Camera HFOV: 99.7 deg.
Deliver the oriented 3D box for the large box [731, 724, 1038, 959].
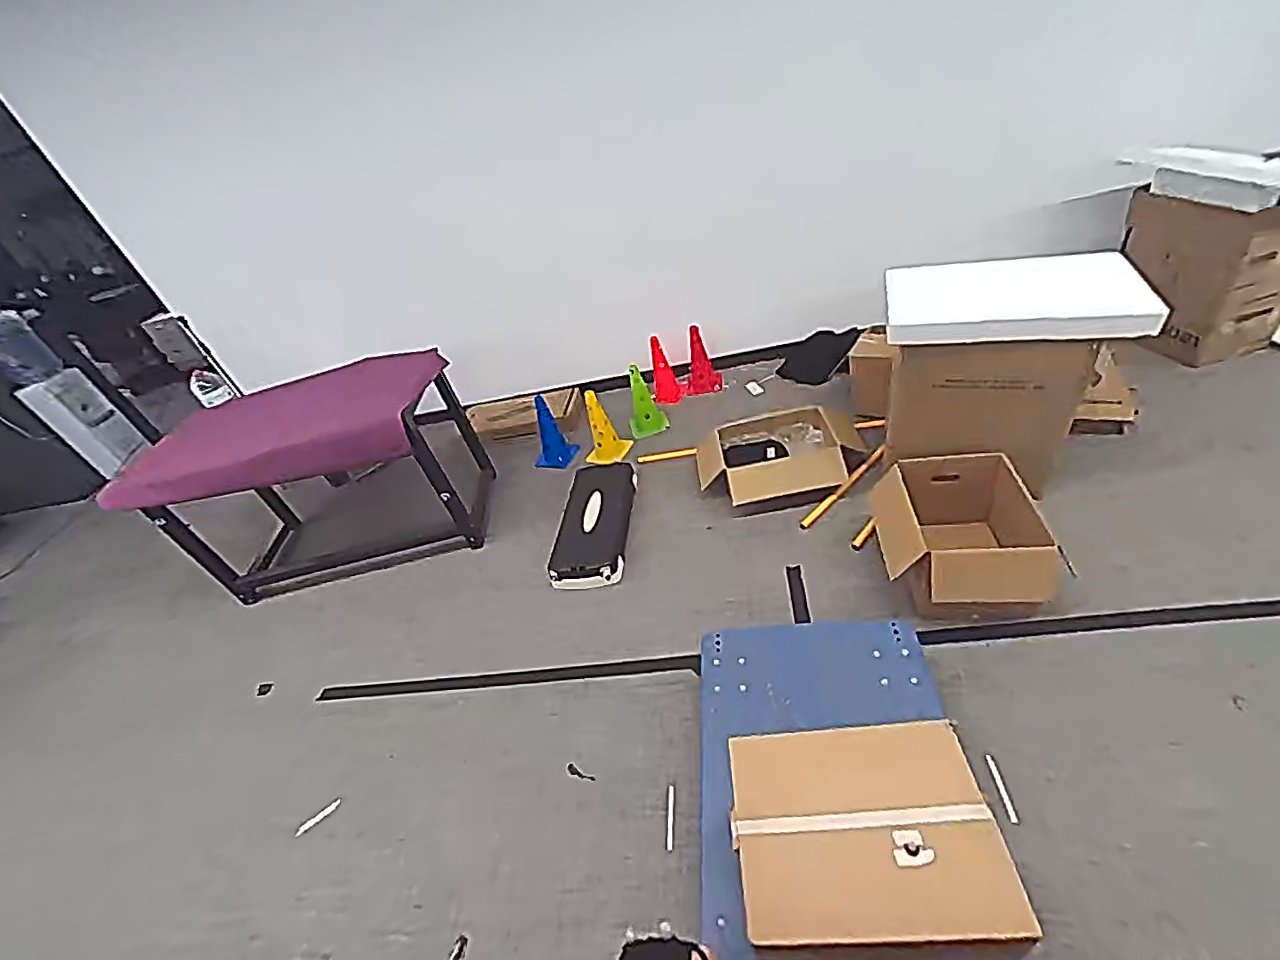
[{"bbox_3d":[0.395,0.687,0.983,0.408,0.320,0.320,-9,38,8],"label":"large box"}]
